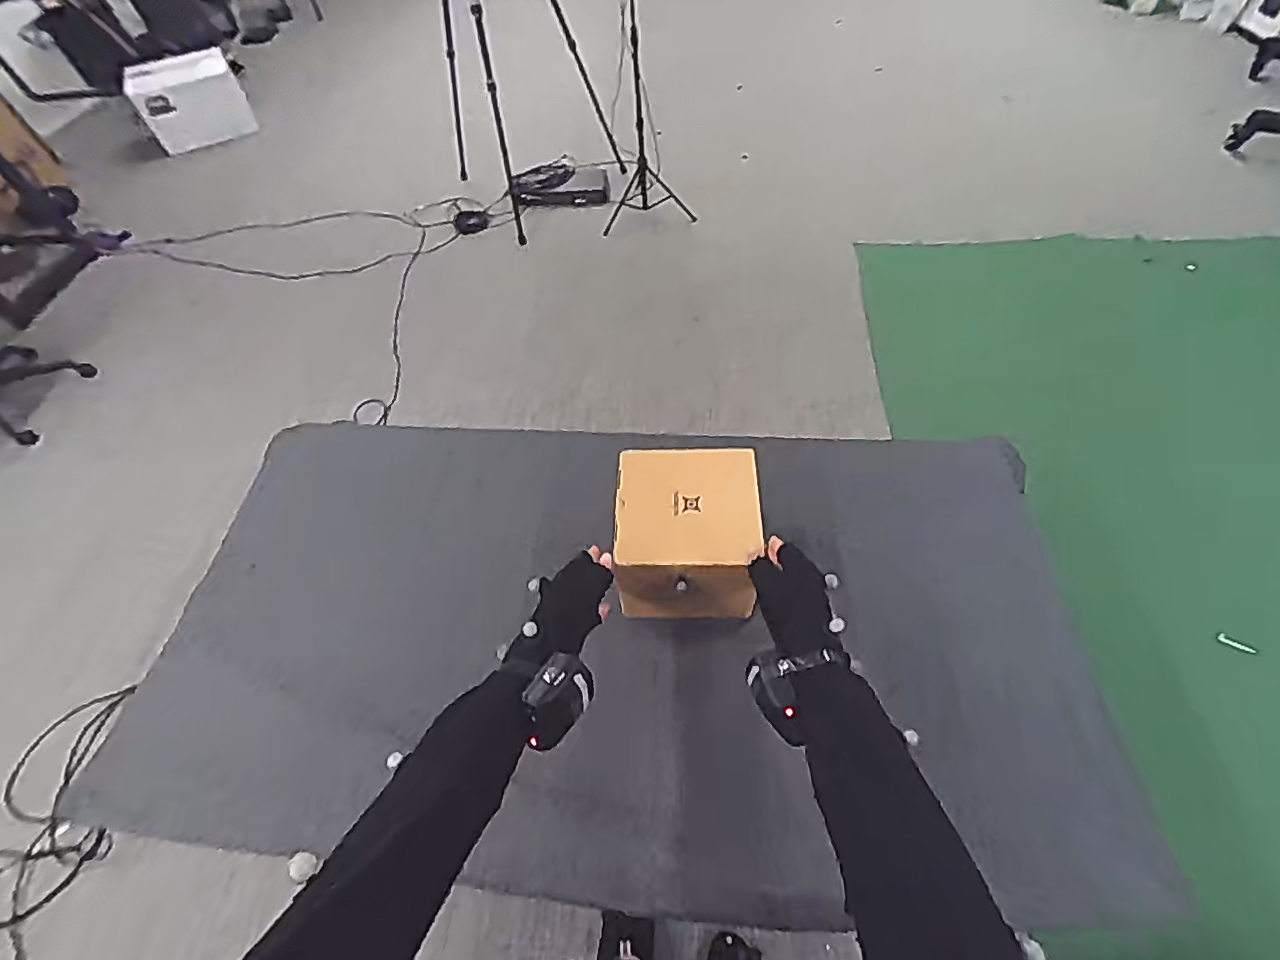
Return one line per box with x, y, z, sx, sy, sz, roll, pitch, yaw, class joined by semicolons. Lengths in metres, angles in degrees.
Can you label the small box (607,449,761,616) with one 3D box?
0.057;0.074;0.719;0.179;0.176;0.168;-2;56;5;small box
